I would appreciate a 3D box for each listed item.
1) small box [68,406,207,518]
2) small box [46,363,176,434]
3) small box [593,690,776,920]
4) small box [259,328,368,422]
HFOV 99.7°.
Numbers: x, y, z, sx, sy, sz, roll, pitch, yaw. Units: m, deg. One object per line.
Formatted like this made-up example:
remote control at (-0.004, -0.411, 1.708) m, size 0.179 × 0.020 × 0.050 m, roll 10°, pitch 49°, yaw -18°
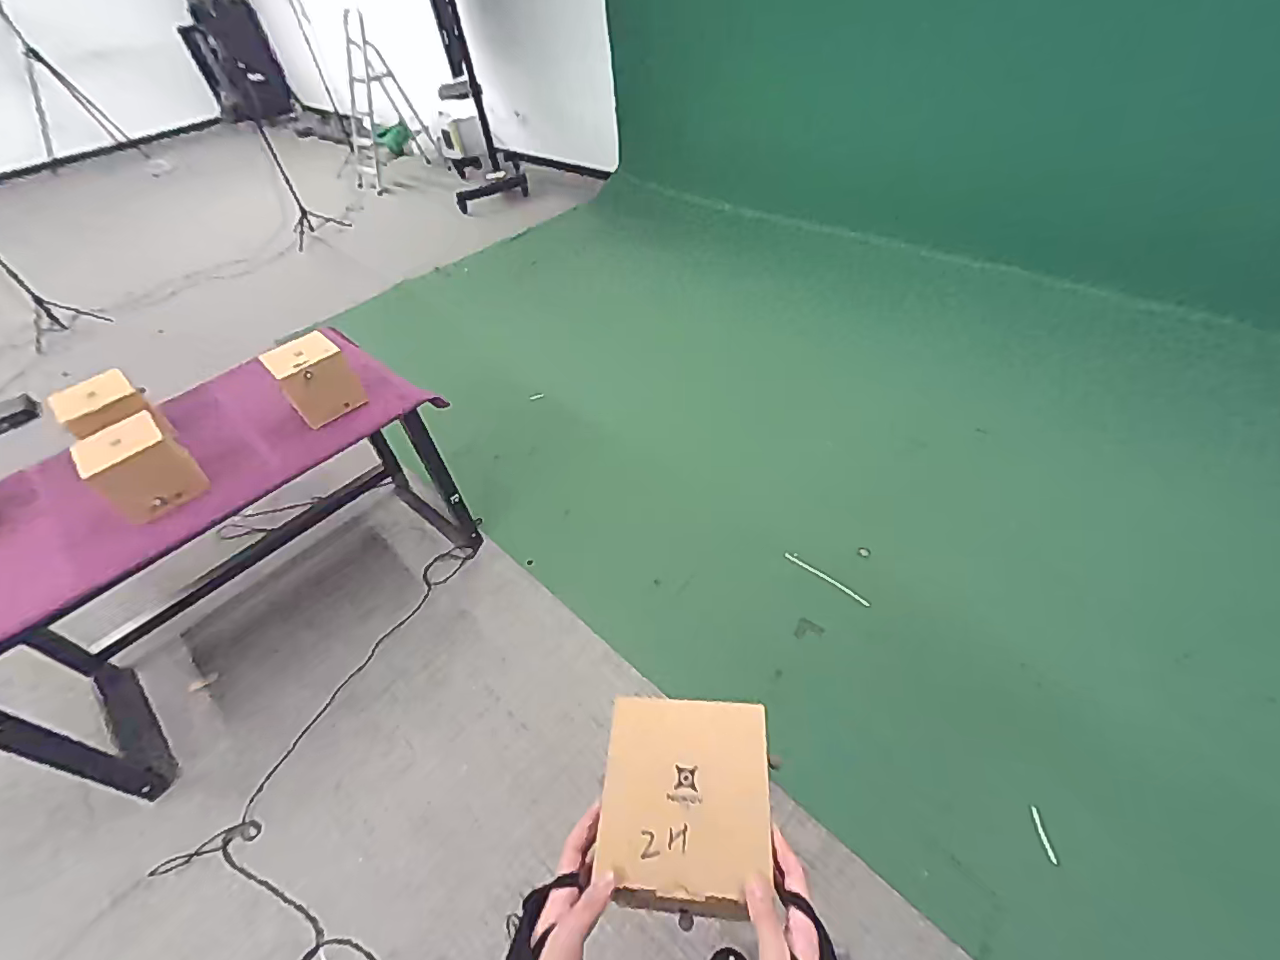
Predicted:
small box at (-1.179, -0.041, 1.277) m, size 0.179 × 0.176 × 0.168 m, roll 33°, pitch 59°, yaw 32°
small box at (-1.394, -0.176, 1.432) m, size 0.179 × 0.176 × 0.168 m, roll 31°, pitch 57°, yaw 29°
small box at (0.055, 0.352, 0.589) m, size 0.168 × 0.176 × 0.179 m, roll -1°, pitch 47°, yaw 9°
small box at (-0.882, -0.283, 1.470) m, size 0.168 × 0.176 × 0.179 m, roll -38°, pitch 51°, yaw -25°
